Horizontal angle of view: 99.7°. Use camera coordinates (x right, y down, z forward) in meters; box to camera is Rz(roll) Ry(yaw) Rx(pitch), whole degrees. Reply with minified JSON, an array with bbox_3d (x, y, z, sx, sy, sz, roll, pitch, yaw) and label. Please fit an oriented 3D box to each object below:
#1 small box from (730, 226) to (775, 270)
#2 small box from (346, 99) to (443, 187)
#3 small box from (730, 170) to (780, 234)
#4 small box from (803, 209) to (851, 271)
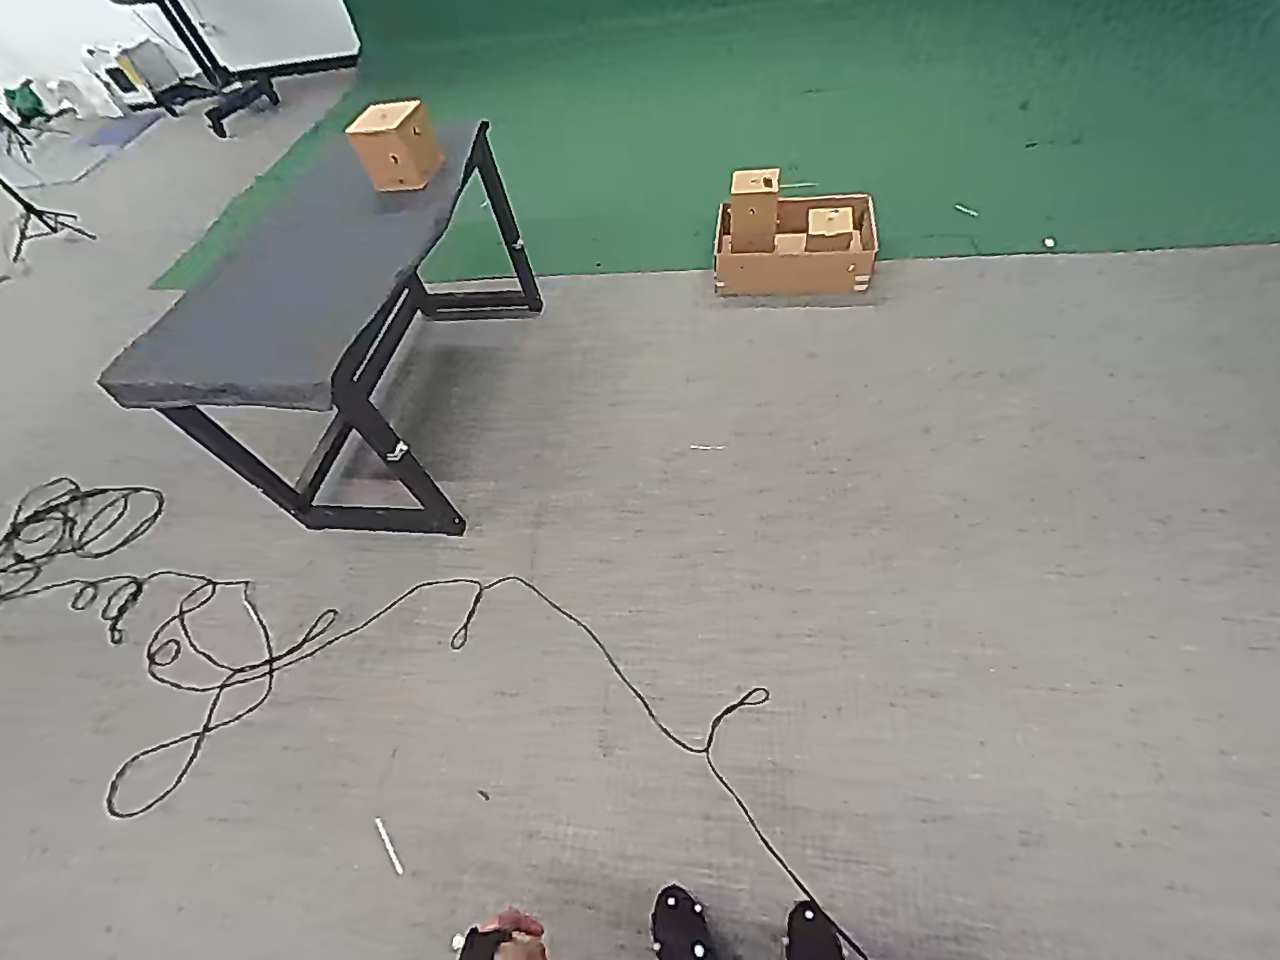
[{"bbox_3d":[0.466,-0.991,2.244,0.179,0.176,0.168,4,57,10],"label":"small box"},{"bbox_3d":[-0.710,-0.983,1.589,0.168,0.176,0.179,5,56,12],"label":"small box"},{"bbox_3d":[0.446,-1.079,2.107,0.179,0.176,0.168,4,57,11],"label":"small box"},{"bbox_3d":[0.754,-0.967,2.187,0.168,0.176,0.179,4,58,12],"label":"small box"}]
